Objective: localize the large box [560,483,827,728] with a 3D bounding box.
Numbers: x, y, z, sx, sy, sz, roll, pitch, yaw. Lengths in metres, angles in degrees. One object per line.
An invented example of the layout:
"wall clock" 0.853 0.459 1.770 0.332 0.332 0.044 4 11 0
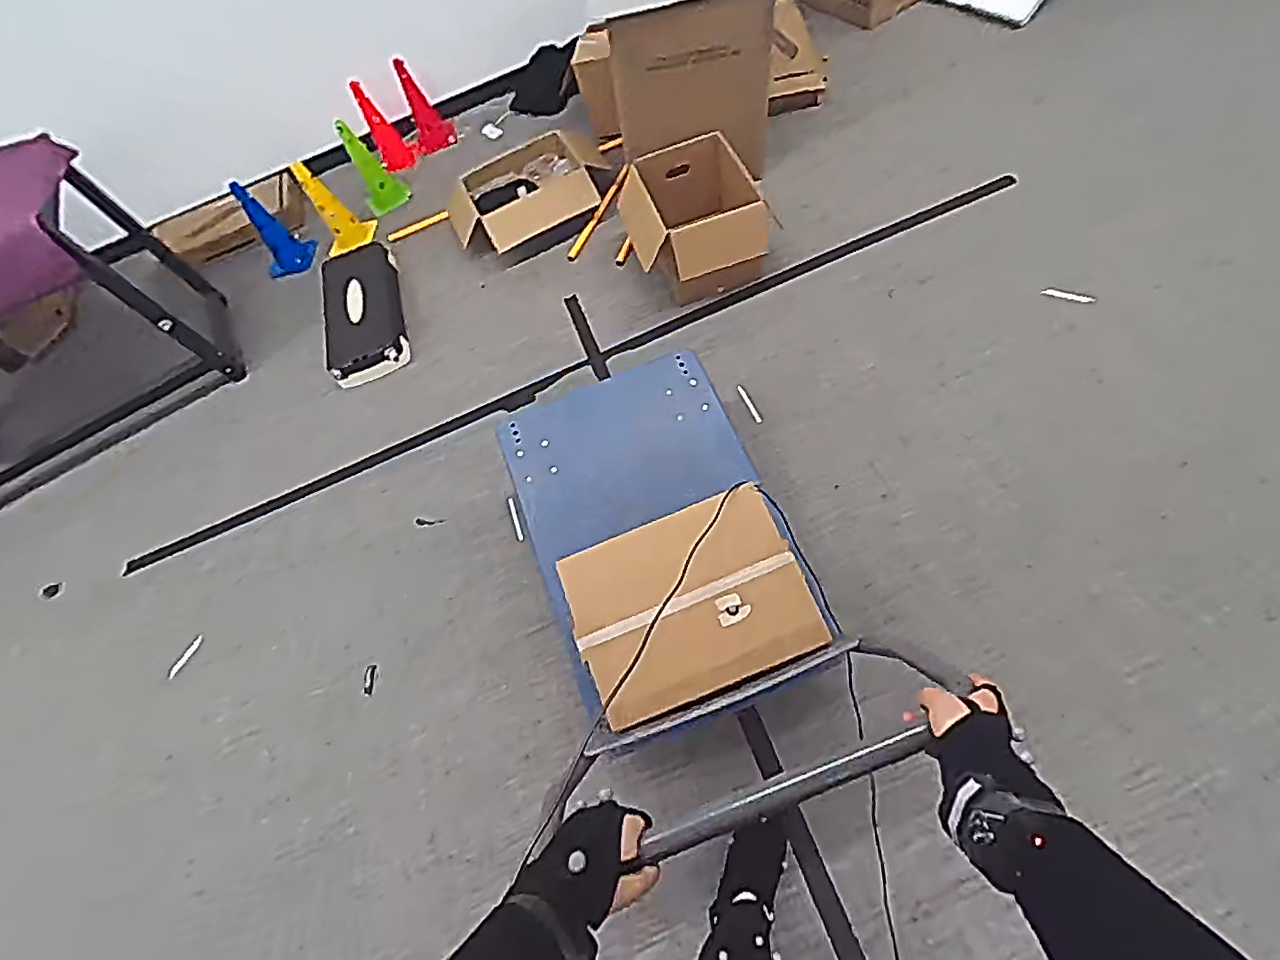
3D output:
"large box" 0.100 0.262 1.107 0.408 0.320 0.320 -22 71 -1
